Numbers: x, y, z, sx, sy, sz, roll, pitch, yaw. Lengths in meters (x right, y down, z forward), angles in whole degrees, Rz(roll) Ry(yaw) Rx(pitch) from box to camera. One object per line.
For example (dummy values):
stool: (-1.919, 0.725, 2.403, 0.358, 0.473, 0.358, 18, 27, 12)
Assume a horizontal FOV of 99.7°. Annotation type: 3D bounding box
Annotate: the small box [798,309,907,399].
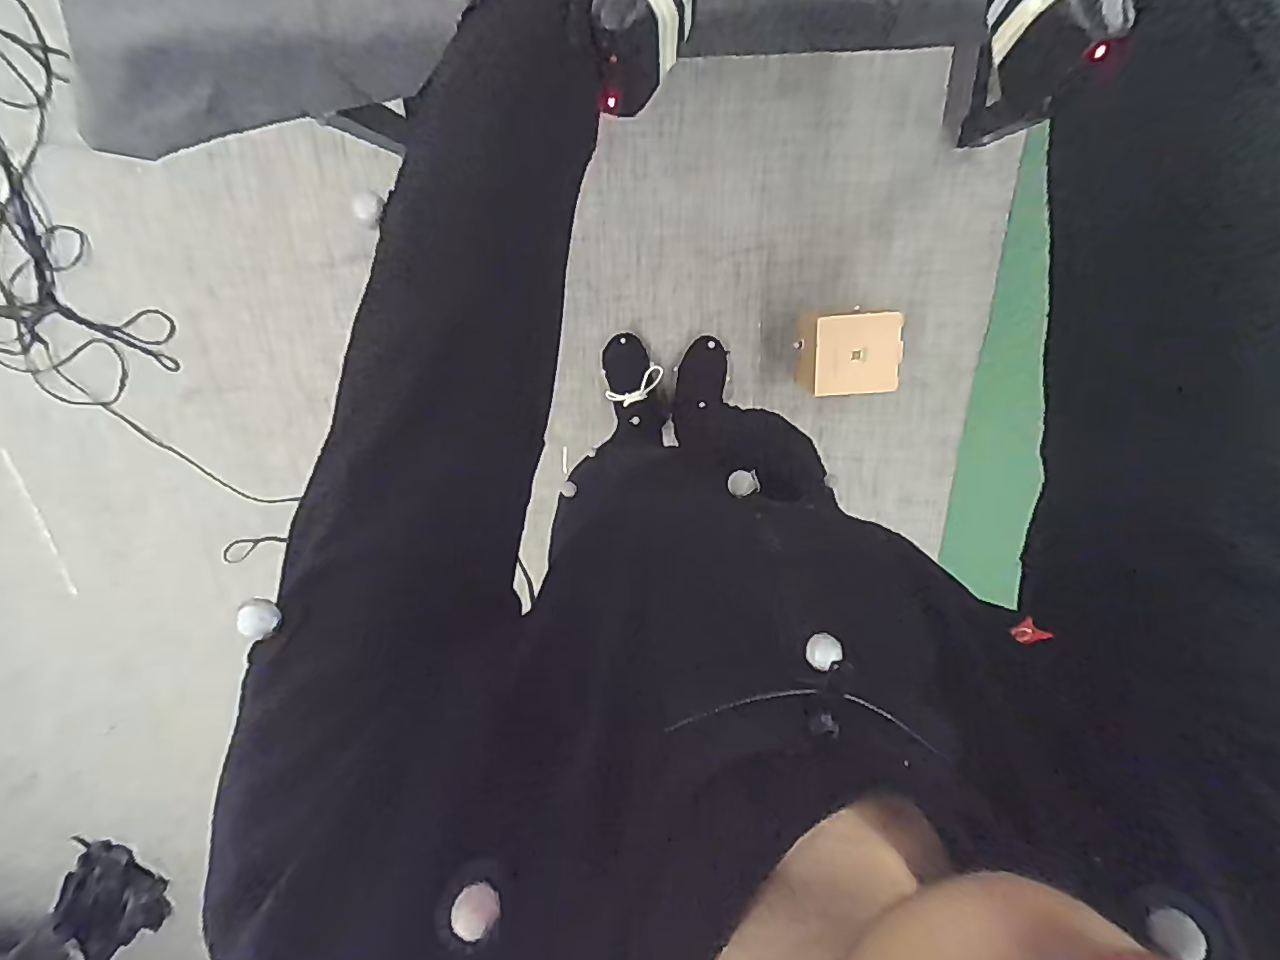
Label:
small box: (0.457, -0.280, 1.185, 0.179, 0.176, 0.168, -4, 109, 5)
